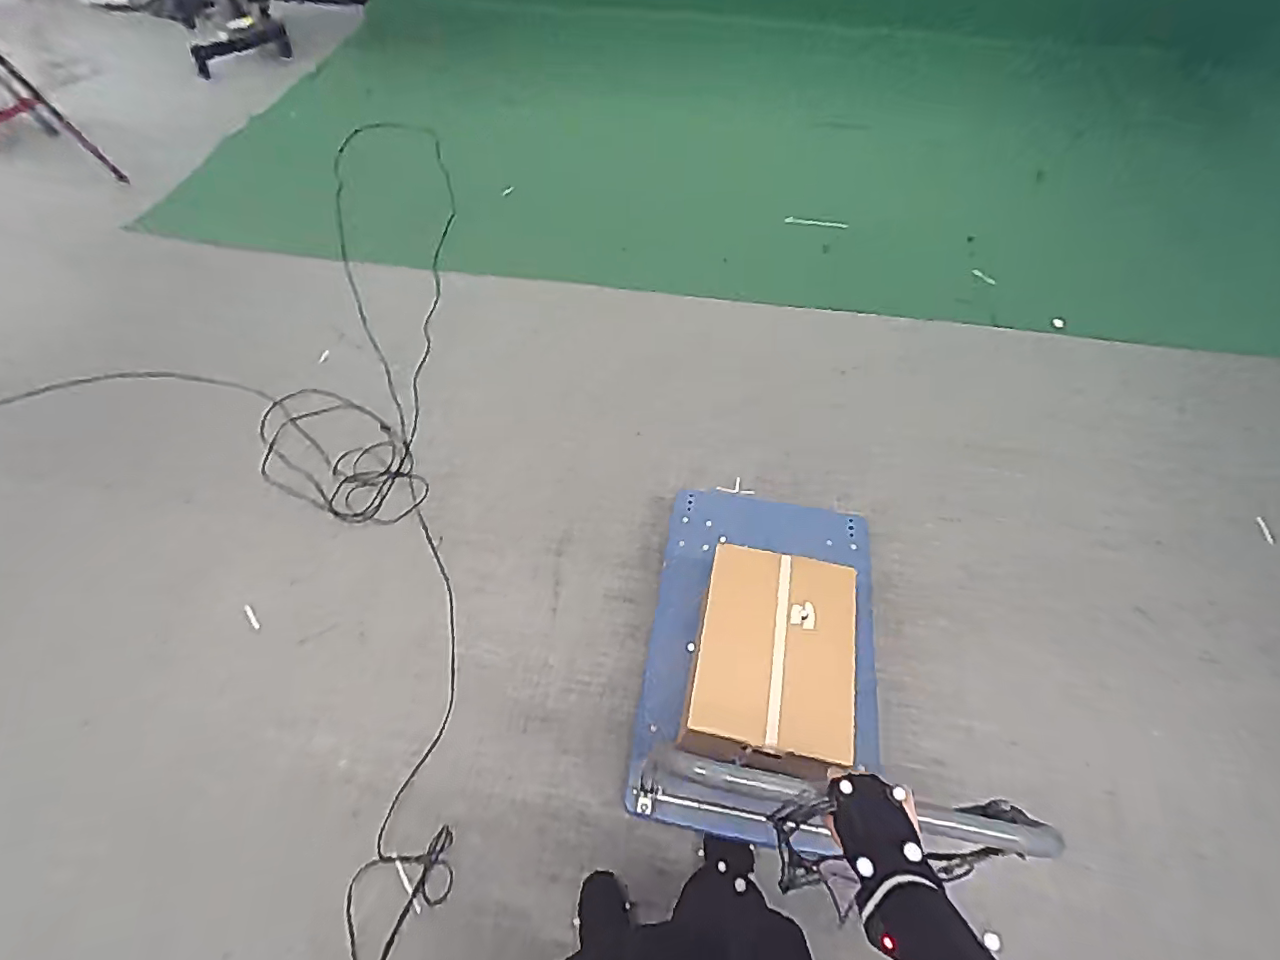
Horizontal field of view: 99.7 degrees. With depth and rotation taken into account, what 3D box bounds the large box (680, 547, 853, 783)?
[{"bbox_3d":[0.277,0.421,1.226,0.320,0.320,0.408,11,57,6],"label":"large box"}]
